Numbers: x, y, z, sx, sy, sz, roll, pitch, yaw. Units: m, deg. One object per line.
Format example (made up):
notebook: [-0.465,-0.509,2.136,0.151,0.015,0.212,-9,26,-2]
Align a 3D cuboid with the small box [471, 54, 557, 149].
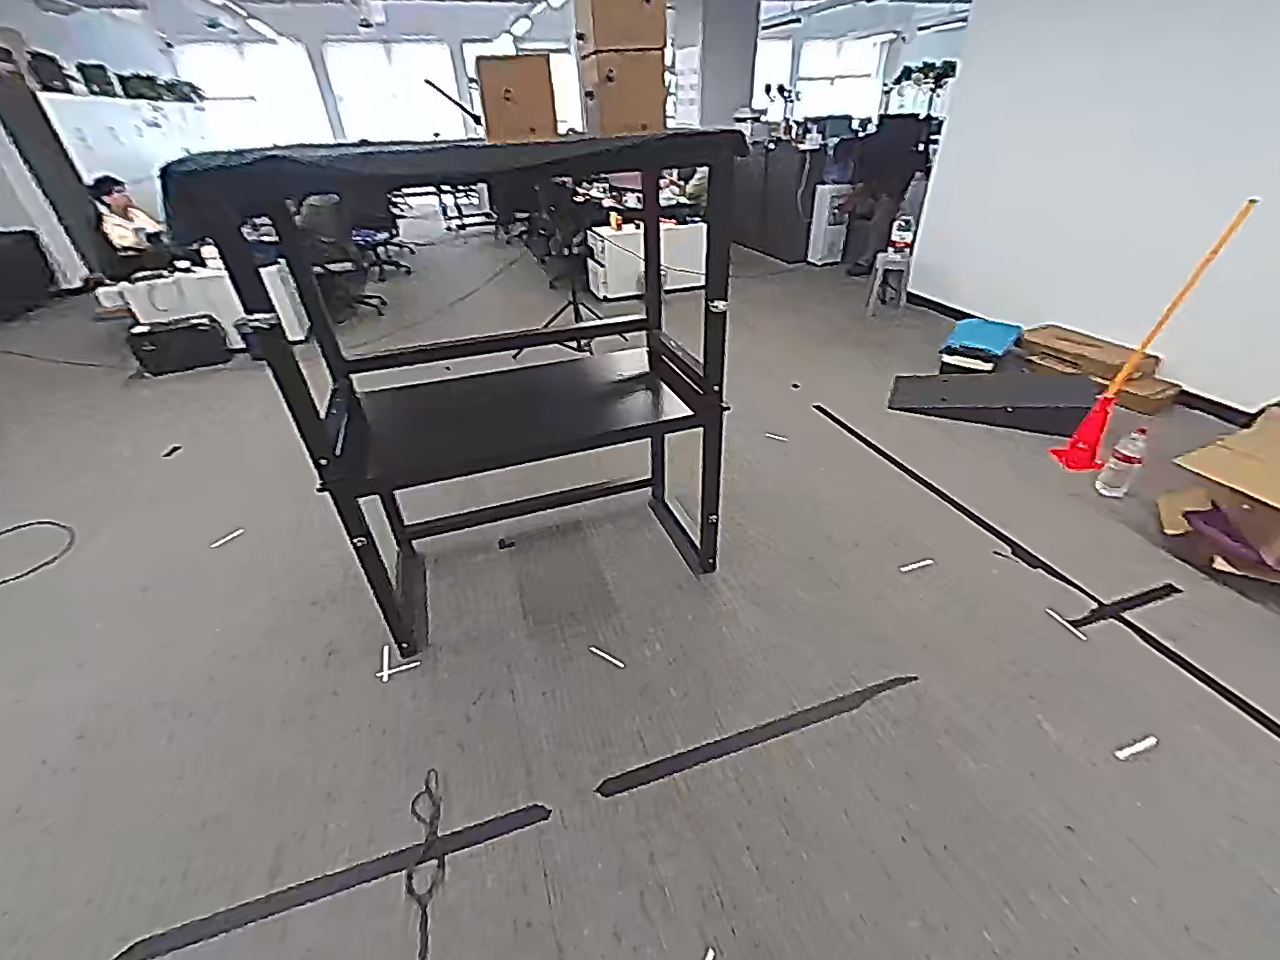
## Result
small box: [-0.296,-0.885,1.273,0.168,0.176,0.179,-11,34,-12]

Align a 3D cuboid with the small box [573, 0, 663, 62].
small box: [-0.051,-1.066,1.228,0.179,0.176,0.168,-14,33,-13]
